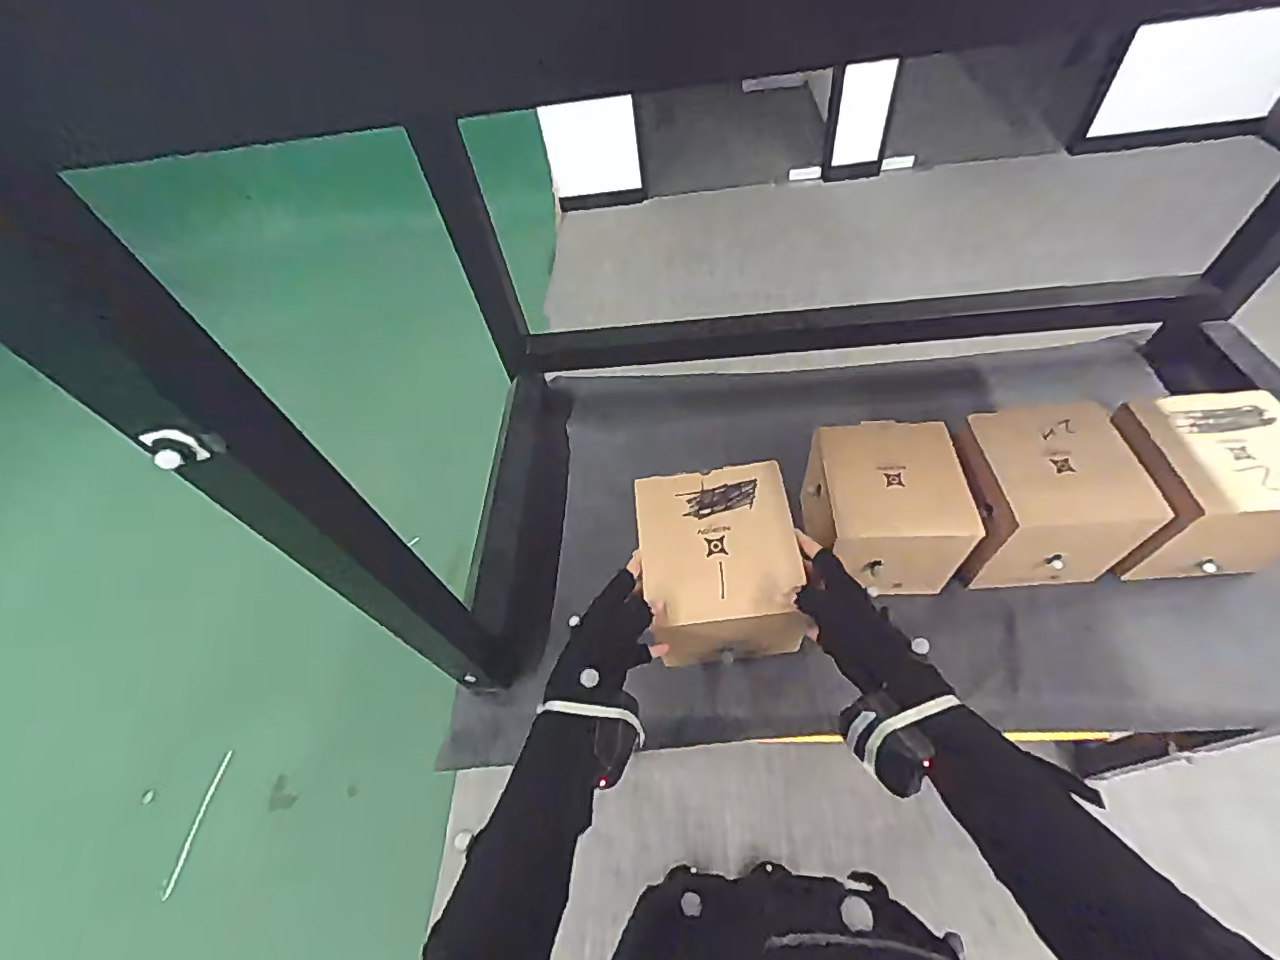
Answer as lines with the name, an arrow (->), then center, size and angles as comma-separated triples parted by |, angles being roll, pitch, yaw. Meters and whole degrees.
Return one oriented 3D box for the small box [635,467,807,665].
small box -> 0.091, 0.109, 0.651 | 0.168, 0.176, 0.179 | -9, 59, 5
